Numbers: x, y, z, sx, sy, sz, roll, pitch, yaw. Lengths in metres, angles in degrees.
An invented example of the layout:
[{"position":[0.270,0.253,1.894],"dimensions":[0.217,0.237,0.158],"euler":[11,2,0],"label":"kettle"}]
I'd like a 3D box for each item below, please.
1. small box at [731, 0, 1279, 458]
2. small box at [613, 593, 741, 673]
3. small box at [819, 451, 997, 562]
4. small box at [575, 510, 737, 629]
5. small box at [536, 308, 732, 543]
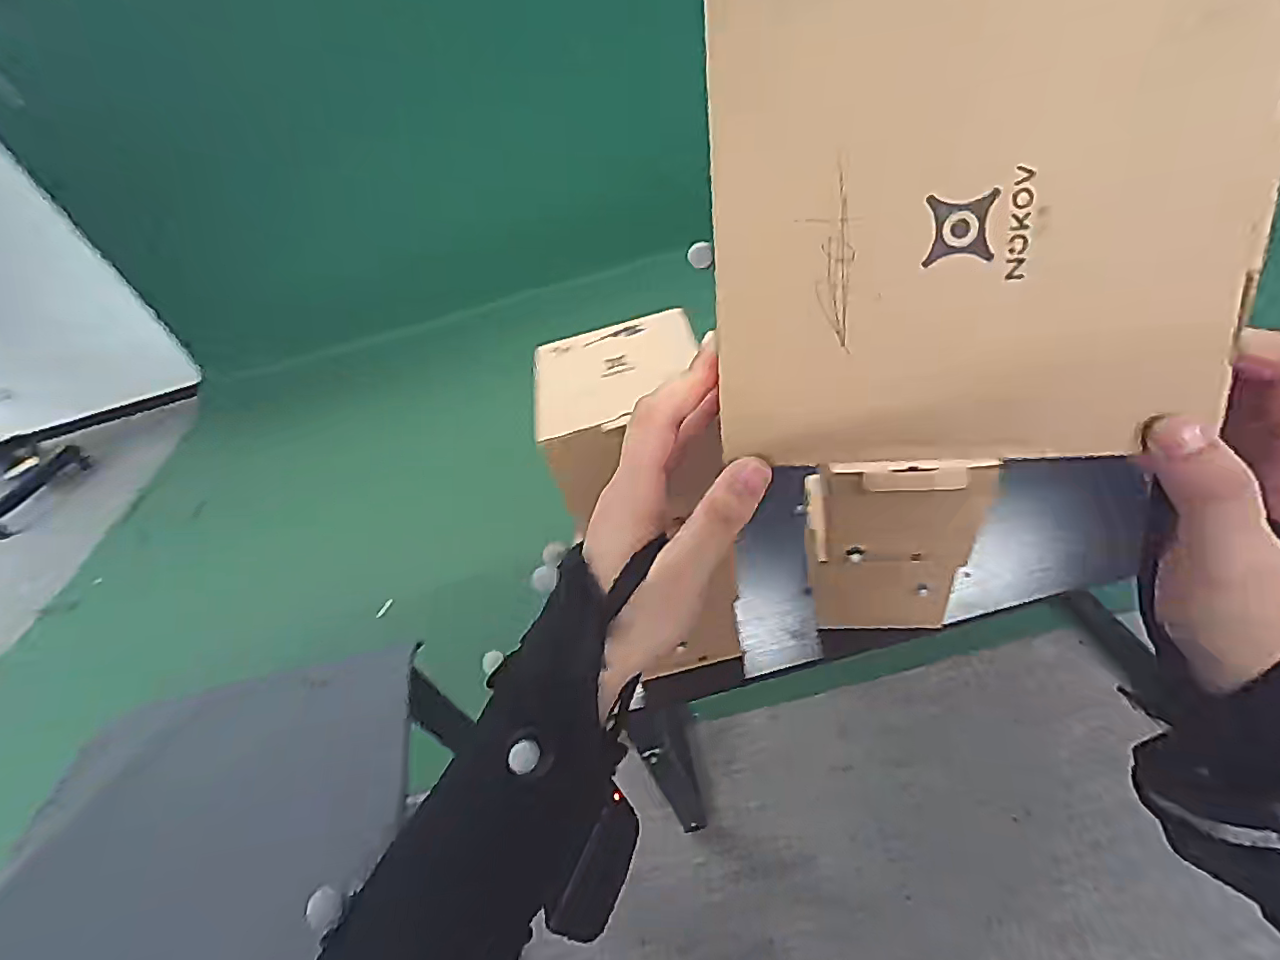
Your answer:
[{"position":[0.135,-0.110,0.261],"dimensions":[0.179,0.168,0.176],"euler":[-2,14,12],"label":"small box"},{"position":[0.048,0.171,0.819],"dimensions":[0.168,0.176,0.179],"euler":[-15,43,1],"label":"small box"},{"position":[0.316,-0.011,0.679],"dimensions":[0.168,0.176,0.179],"euler":[-2,44,15],"label":"small box"},{"position":[0.021,0.066,0.697],"dimensions":[0.179,0.176,0.168],"euler":[-16,43,2],"label":"small box"},{"position":[-0.005,-0.051,0.585],"dimensions":[0.168,0.176,0.179],"euler":[-15,44,3],"label":"small box"}]
